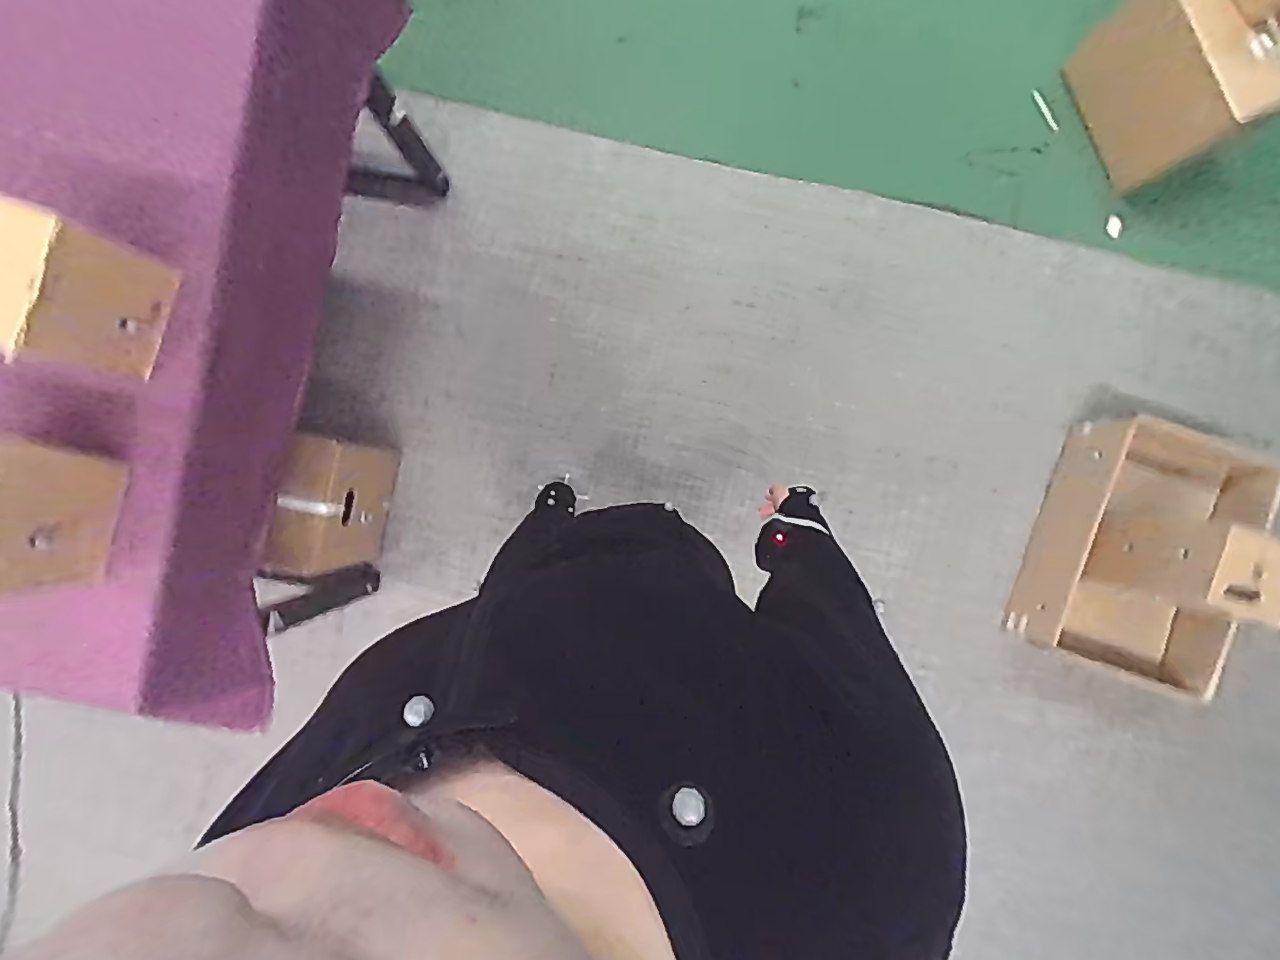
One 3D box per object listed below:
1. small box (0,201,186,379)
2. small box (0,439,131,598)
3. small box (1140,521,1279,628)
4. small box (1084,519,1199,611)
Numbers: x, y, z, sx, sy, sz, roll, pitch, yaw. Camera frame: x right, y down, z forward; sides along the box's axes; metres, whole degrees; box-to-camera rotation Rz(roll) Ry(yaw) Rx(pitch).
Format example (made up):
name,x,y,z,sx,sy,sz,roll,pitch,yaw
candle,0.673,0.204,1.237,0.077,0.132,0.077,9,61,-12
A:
name,x,y,z,sx,sy,sz,roll,pitch,yaw
small box,-0.764,-0.244,0.707,0.179,0.176,0.168,18,90,0
small box,-0.826,0.047,0.703,0.168,0.176,0.179,13,91,0
small box,1.268,0.199,1.191,0.168,0.176,0.179,20,88,1
small box,1.272,0.204,1.356,0.168,0.176,0.179,19,89,2
